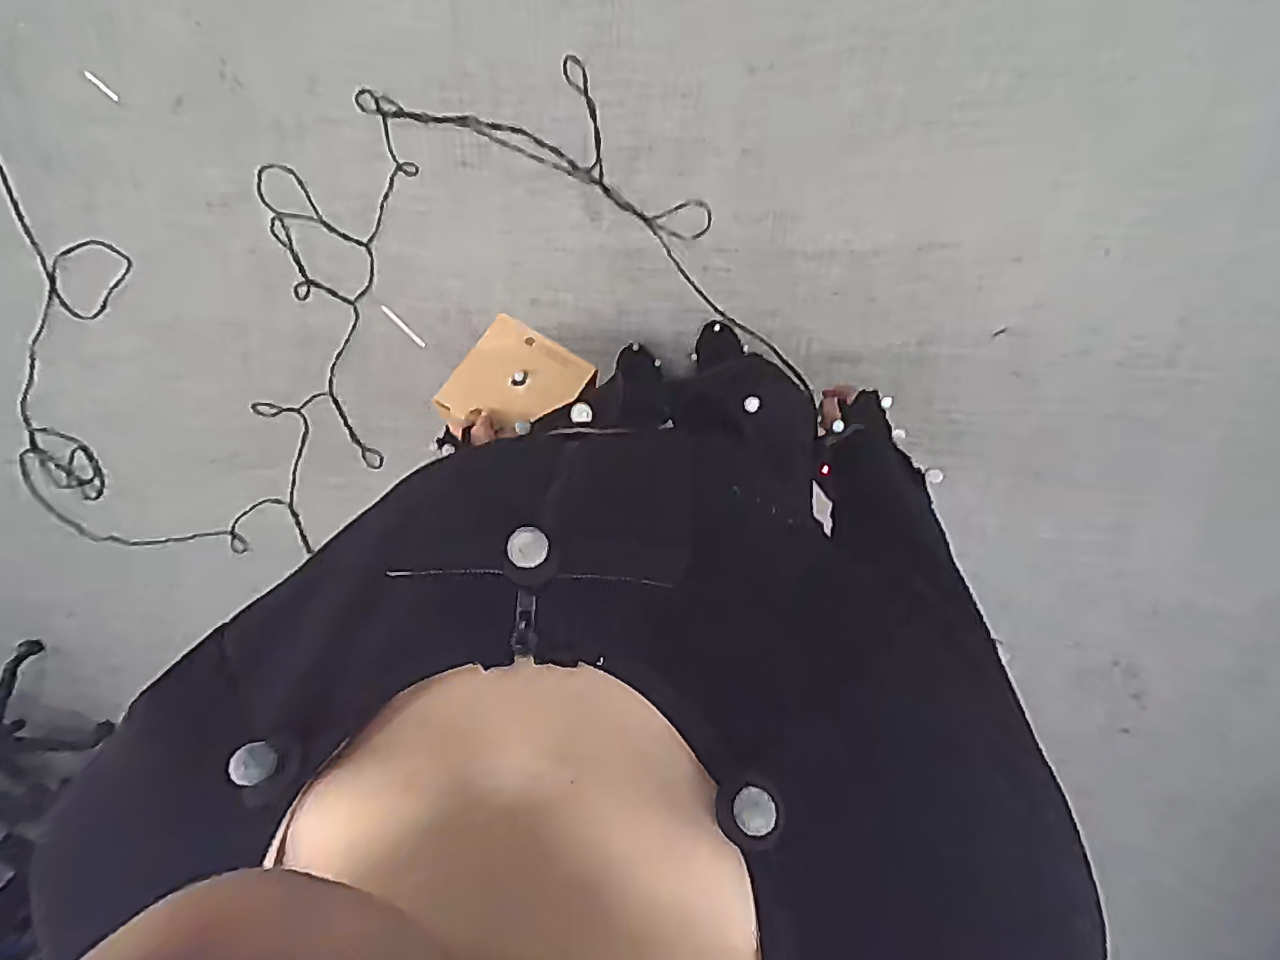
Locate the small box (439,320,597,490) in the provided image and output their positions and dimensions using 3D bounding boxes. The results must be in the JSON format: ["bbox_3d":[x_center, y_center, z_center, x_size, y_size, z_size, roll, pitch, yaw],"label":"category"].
[{"bbox_3d":[-0.178,-0.114,0.843,0.168,0.179,0.176,30,72,3],"label":"small box"}]
